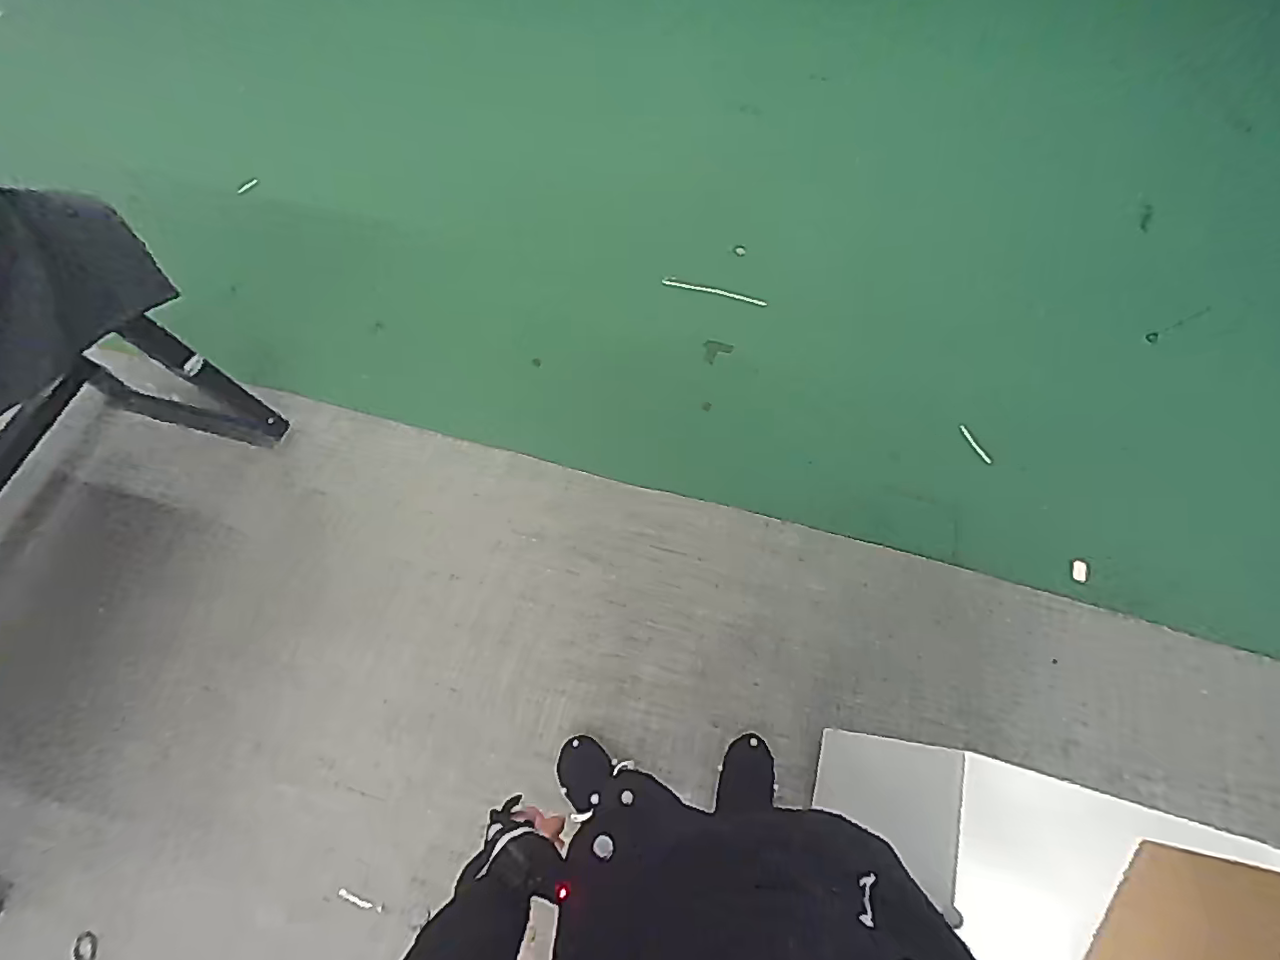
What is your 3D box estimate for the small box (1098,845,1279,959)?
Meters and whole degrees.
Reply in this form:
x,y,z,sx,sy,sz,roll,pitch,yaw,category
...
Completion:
x,y,z,sx,sy,sz,roll,pitch,yaw,category
0.539,0.454,0.450,0.168,0.176,0.179,40,70,14,small box
